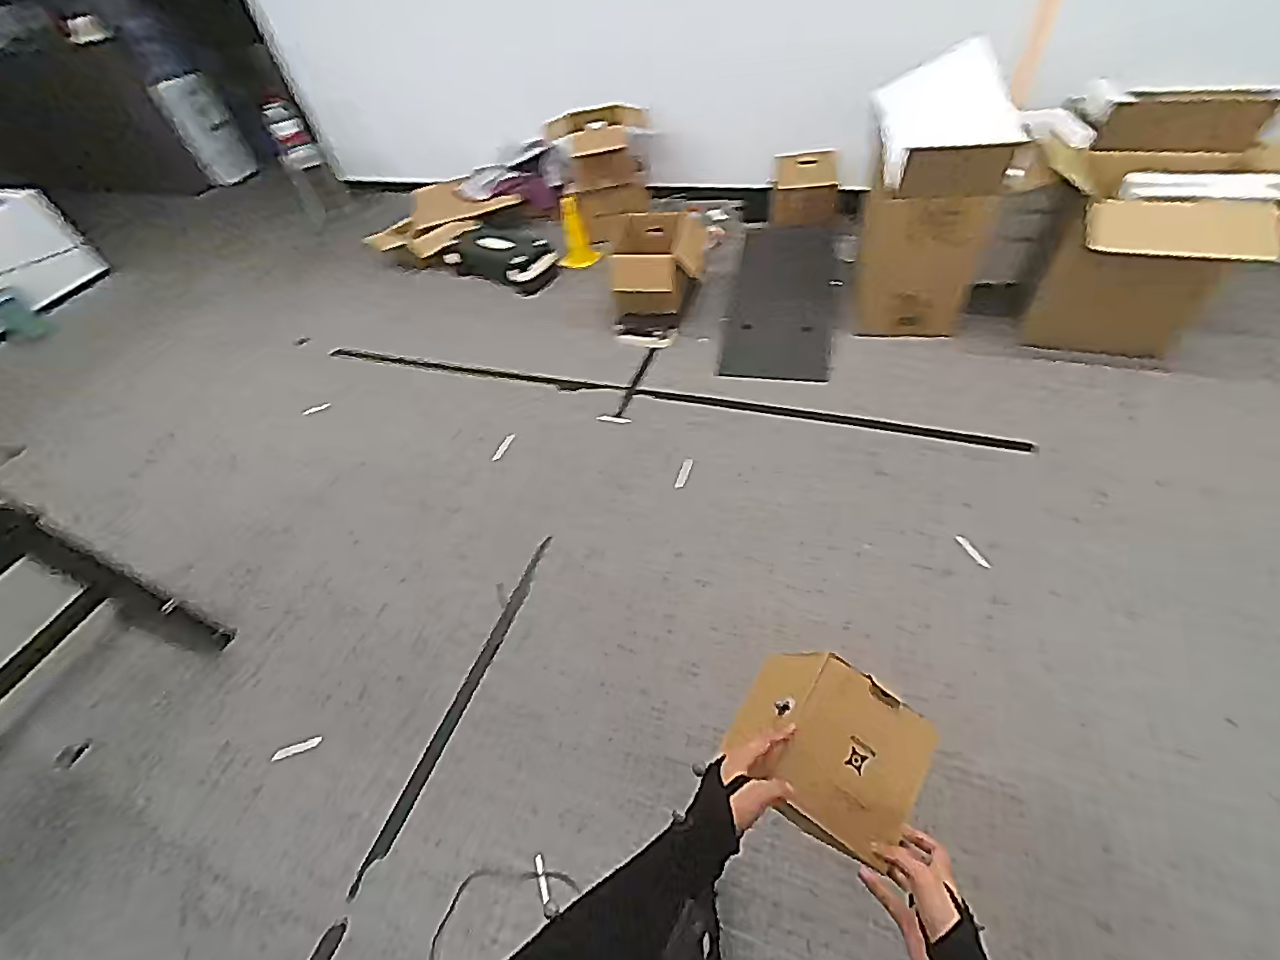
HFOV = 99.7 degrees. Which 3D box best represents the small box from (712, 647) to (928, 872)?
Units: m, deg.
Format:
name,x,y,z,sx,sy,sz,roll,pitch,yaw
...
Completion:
name,x,y,z,sx,sy,sz,roll,pitch,yaw
small box,0.216,0.334,0.682,0.168,0.176,0.179,35,65,0
